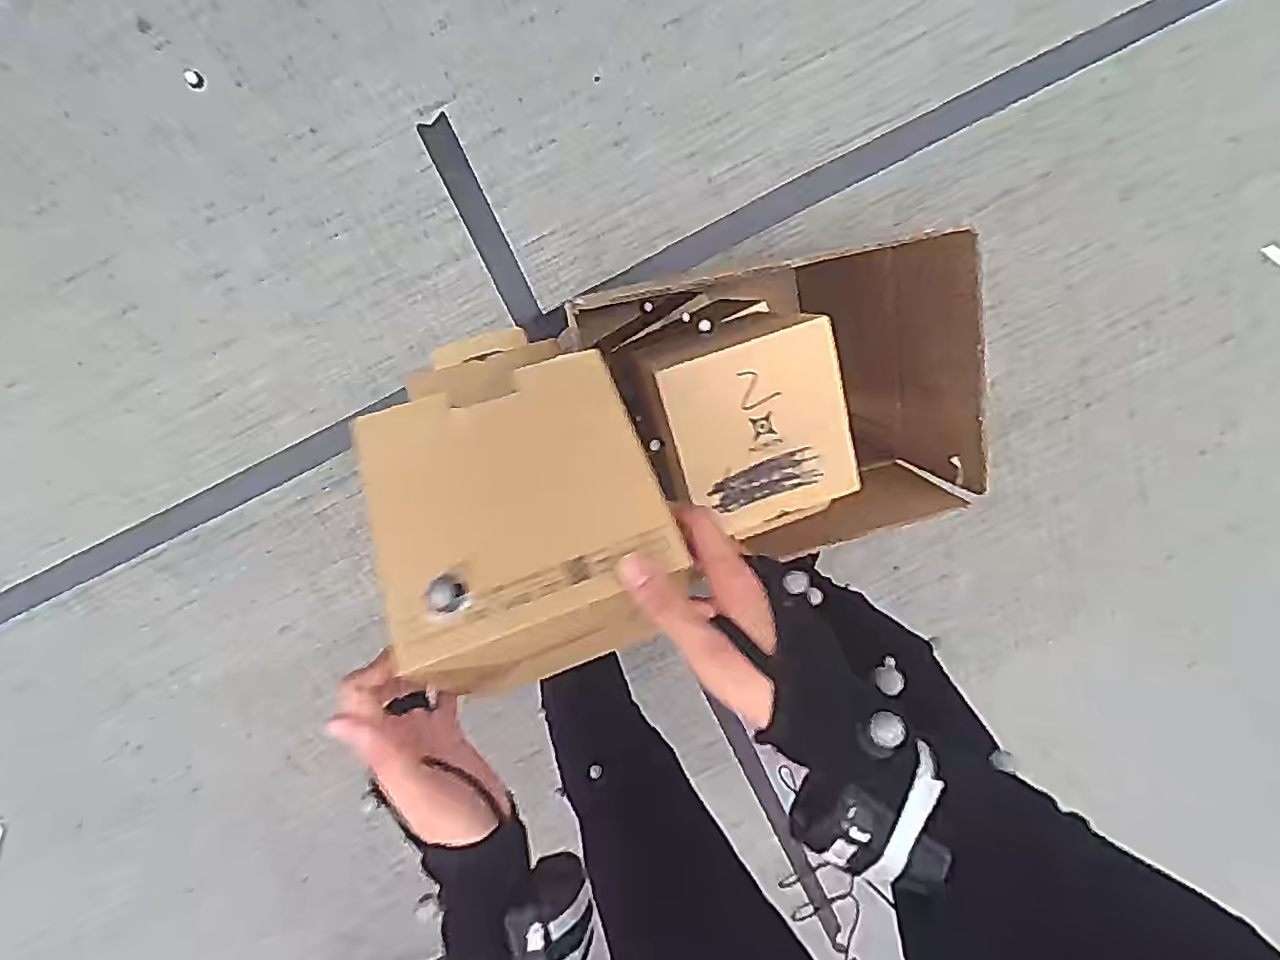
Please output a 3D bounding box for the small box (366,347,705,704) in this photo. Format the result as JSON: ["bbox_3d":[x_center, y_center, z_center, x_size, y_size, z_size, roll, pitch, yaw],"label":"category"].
[{"bbox_3d":[-0.064,0.043,0.387,0.168,0.176,0.179,-19,154,-10],"label":"small box"}]
